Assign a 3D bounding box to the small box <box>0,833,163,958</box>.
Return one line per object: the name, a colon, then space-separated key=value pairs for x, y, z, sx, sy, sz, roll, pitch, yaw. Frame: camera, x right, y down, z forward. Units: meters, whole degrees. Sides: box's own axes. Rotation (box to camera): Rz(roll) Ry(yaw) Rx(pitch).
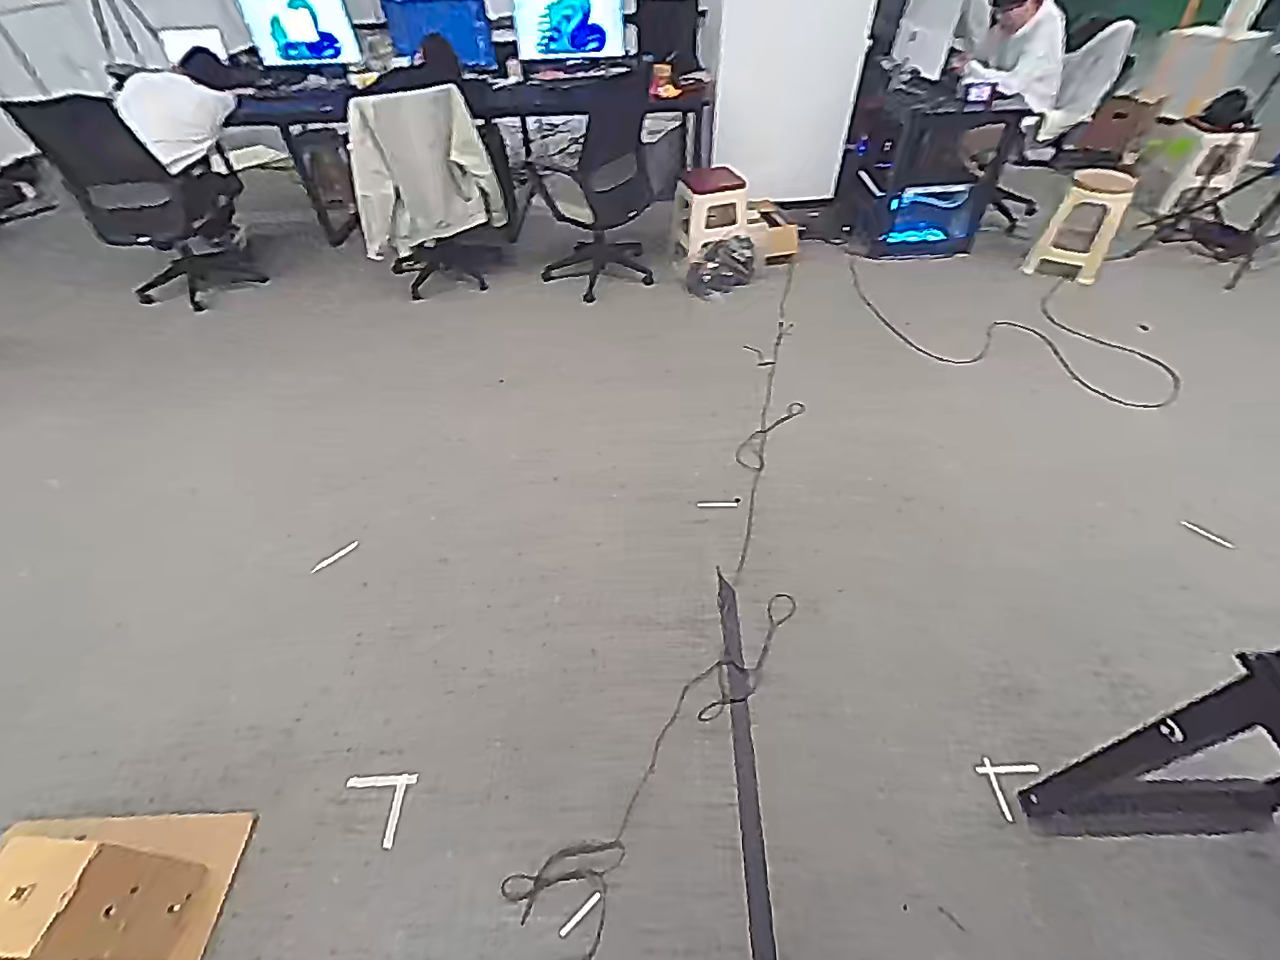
small box: x=-1.076 y=0.782 z=1.015 sx=0.179 sy=0.176 sz=0.168 roll=2 pitch=48 yaw=2
